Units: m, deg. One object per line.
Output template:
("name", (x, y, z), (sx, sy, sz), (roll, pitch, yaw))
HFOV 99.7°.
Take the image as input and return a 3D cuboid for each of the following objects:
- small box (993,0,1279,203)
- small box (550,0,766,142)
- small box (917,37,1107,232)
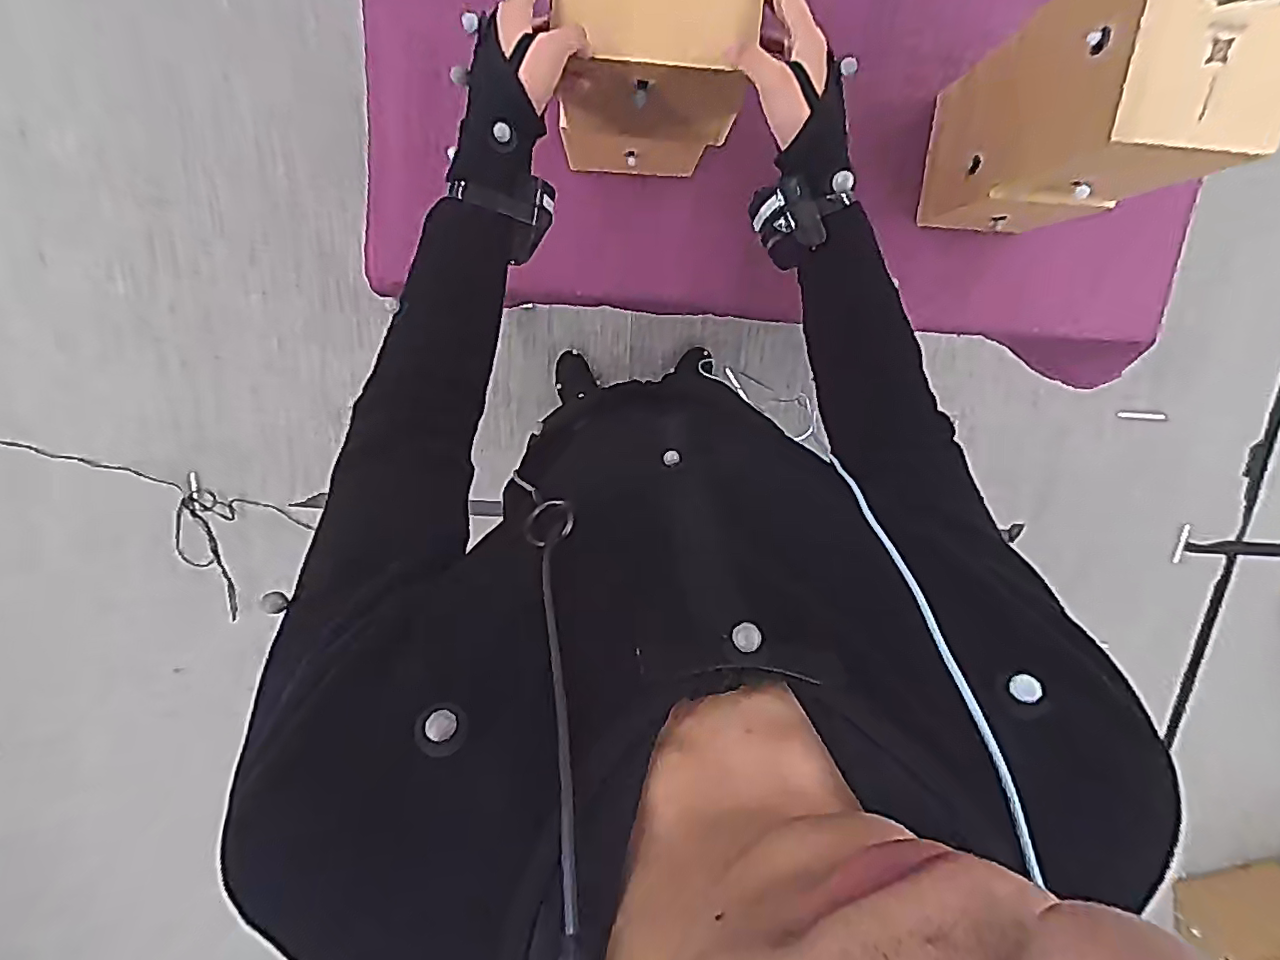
("small box", (0.513, -0.412, 0.567), (0.168, 0.176, 0.179), (3, 105, -4))
("small box", (0.016, -0.441, 0.509), (0.179, 0.176, 0.168), (4, 104, -1))
("small box", (0.503, -0.444, 0.728), (0.168, 0.176, 0.179), (3, 104, -4))
